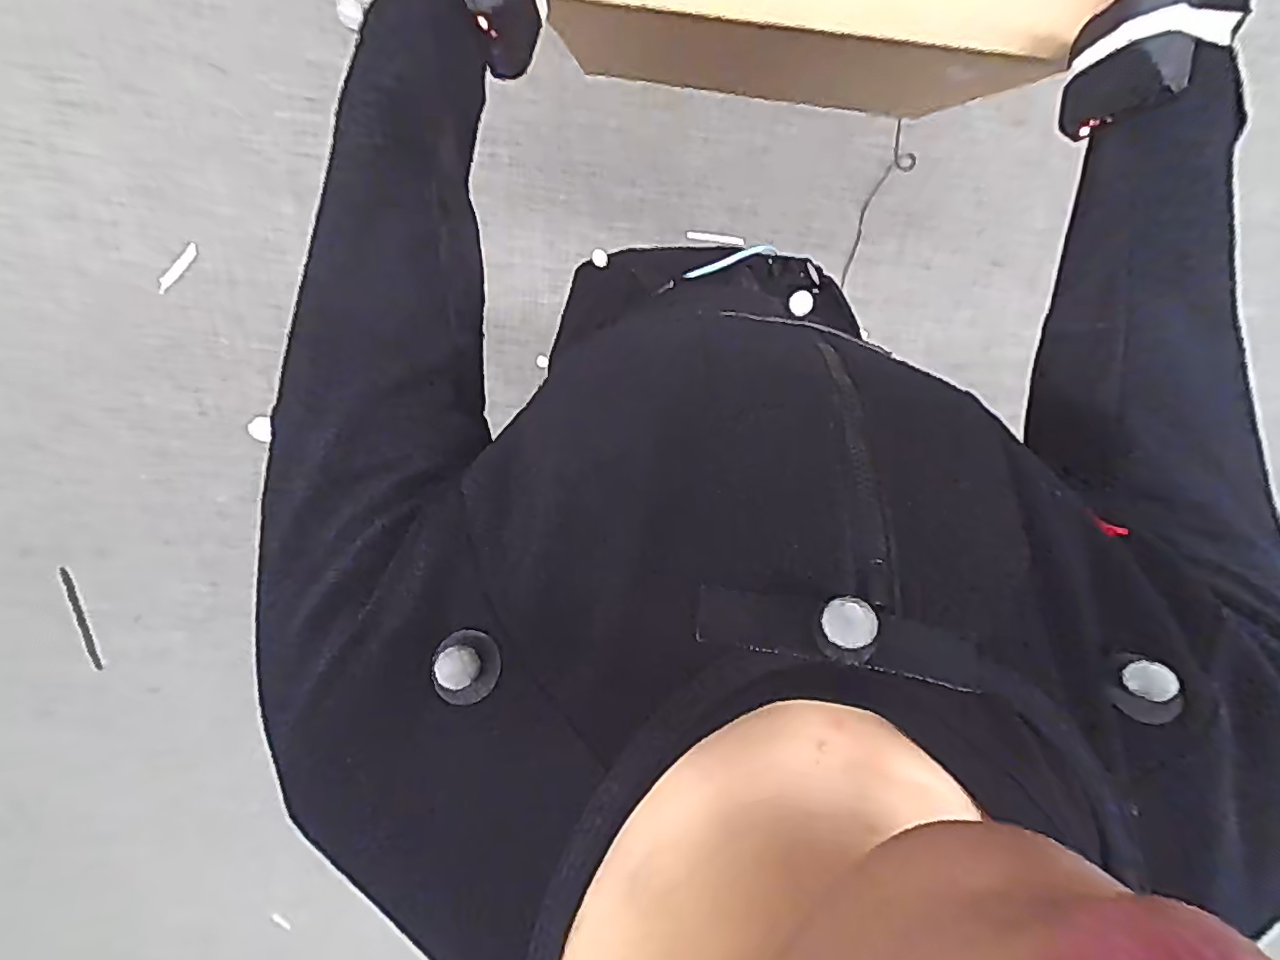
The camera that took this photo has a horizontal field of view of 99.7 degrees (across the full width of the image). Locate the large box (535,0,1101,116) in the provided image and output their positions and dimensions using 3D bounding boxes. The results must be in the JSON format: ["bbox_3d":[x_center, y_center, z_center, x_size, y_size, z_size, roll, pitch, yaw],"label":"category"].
[{"bbox_3d":[0.136,-0.522,0.447,0.408,0.320,0.320,7,119,-1],"label":"large box"}]
